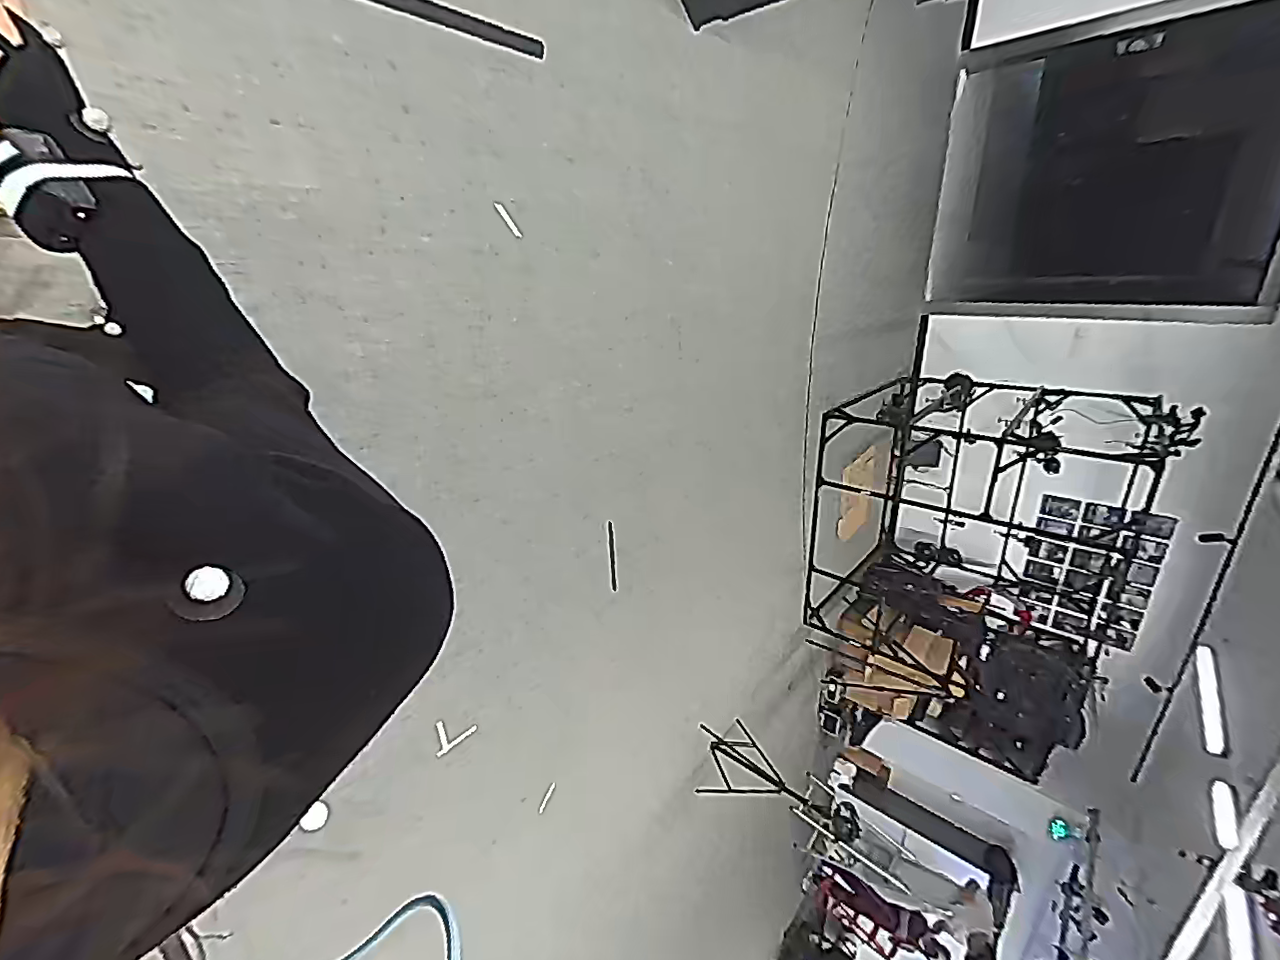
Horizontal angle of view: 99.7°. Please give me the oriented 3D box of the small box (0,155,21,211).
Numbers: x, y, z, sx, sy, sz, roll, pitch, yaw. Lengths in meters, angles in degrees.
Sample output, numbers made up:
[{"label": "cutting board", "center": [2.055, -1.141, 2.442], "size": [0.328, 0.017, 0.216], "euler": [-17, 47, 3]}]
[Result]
[{"label": "small box", "center": [-1.188, -0.549, 0.897], "size": [0.168, 0.176, 0.179], "euler": [-28, 123, -43]}]
